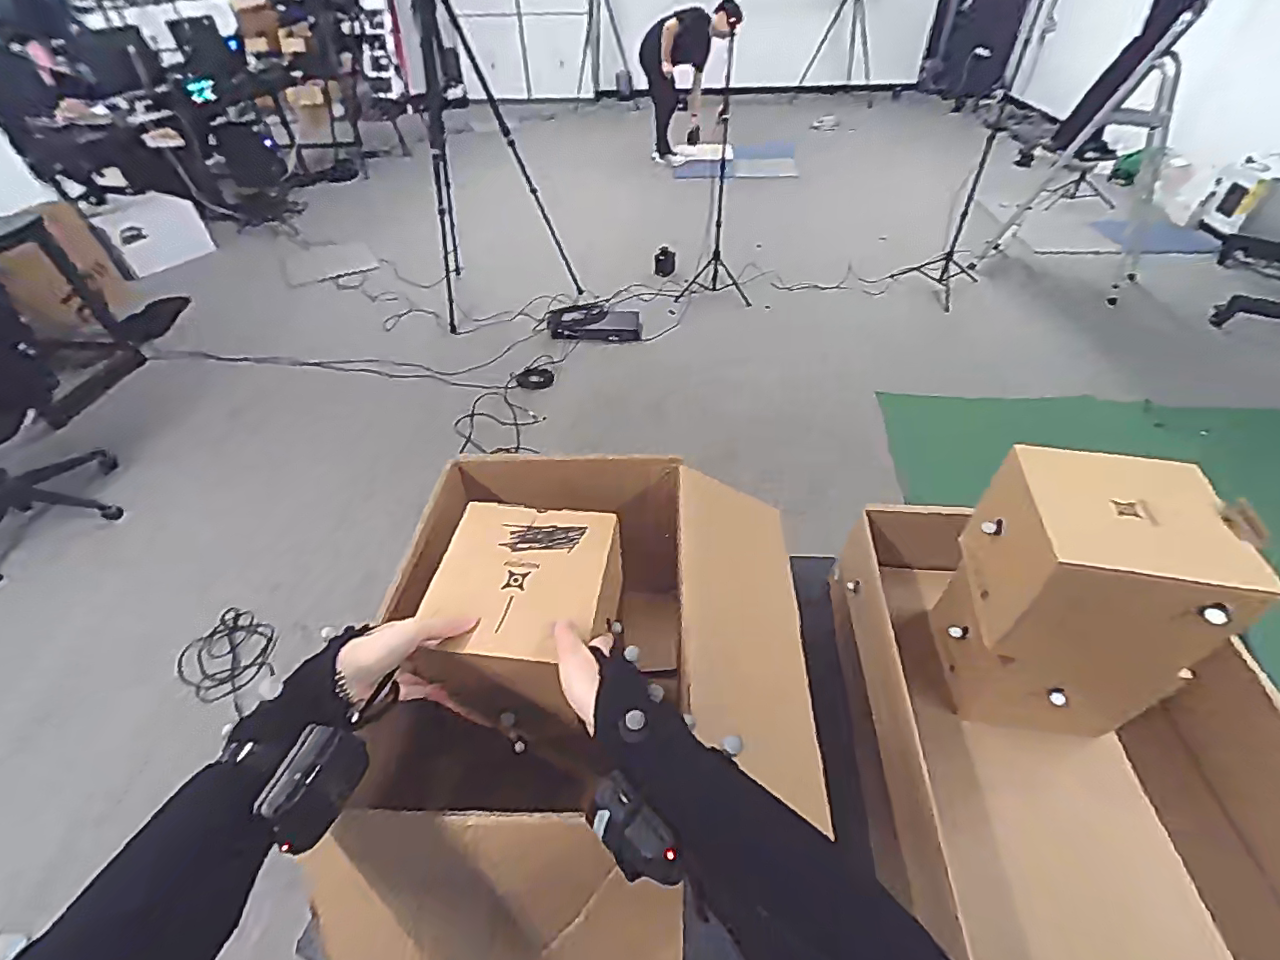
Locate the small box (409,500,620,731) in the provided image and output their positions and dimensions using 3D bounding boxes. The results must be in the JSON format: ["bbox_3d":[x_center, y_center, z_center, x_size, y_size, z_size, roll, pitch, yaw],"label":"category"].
[{"bbox_3d":[-0.115,0.146,0.588,0.168,0.176,0.179,4,47,6],"label":"small box"}]

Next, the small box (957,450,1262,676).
[{"bbox_3d":[0.472,0.091,0.589,0.179,0.176,0.168,8,46,10],"label":"small box"}]
